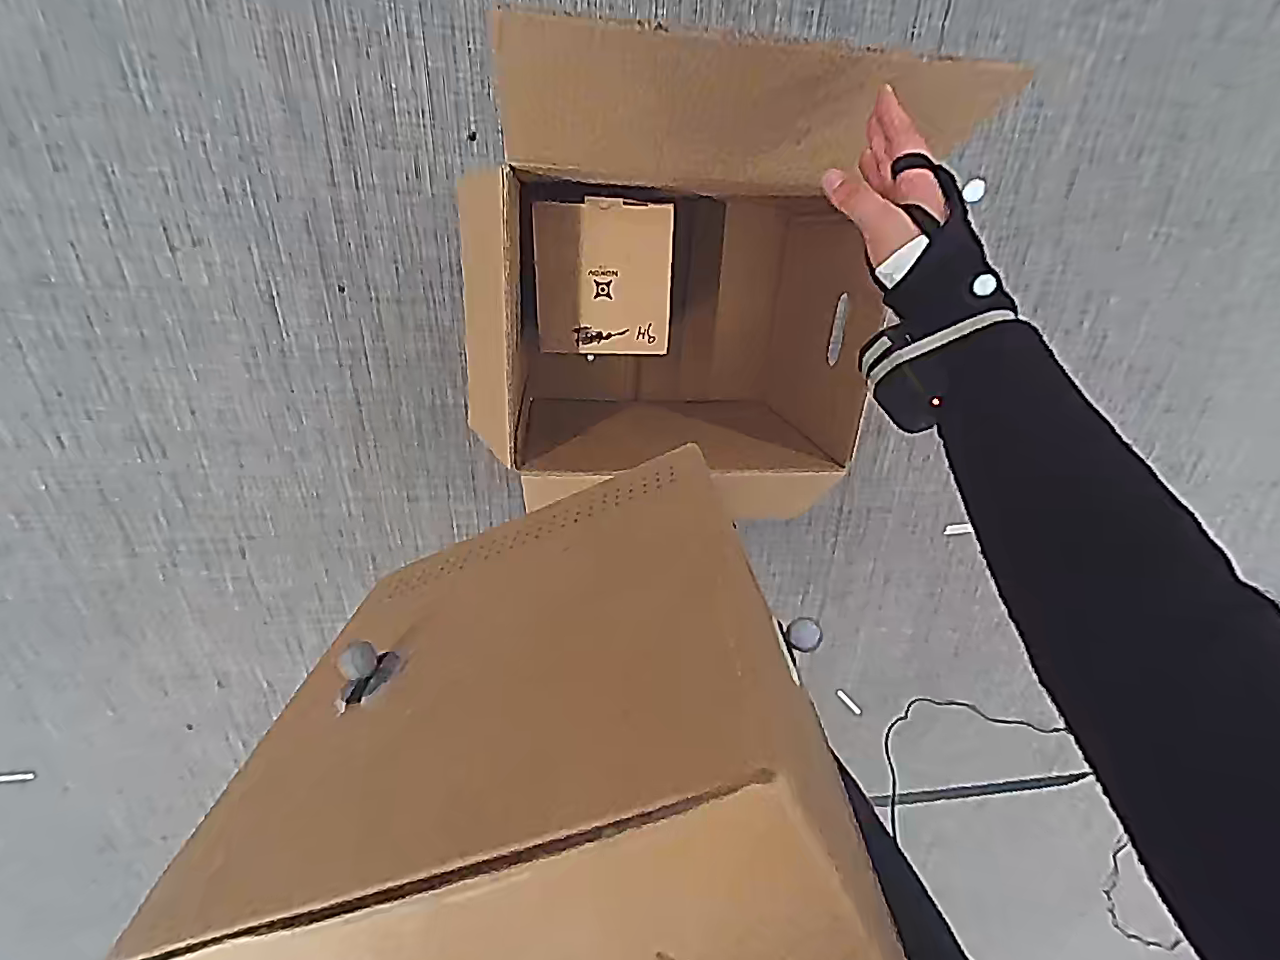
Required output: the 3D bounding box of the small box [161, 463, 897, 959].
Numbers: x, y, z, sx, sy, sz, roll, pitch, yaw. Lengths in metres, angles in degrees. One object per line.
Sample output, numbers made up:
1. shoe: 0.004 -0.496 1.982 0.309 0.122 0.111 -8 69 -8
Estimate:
1. small box: -0.017 0.120 0.230 0.179 0.176 0.168 -24 114 10
